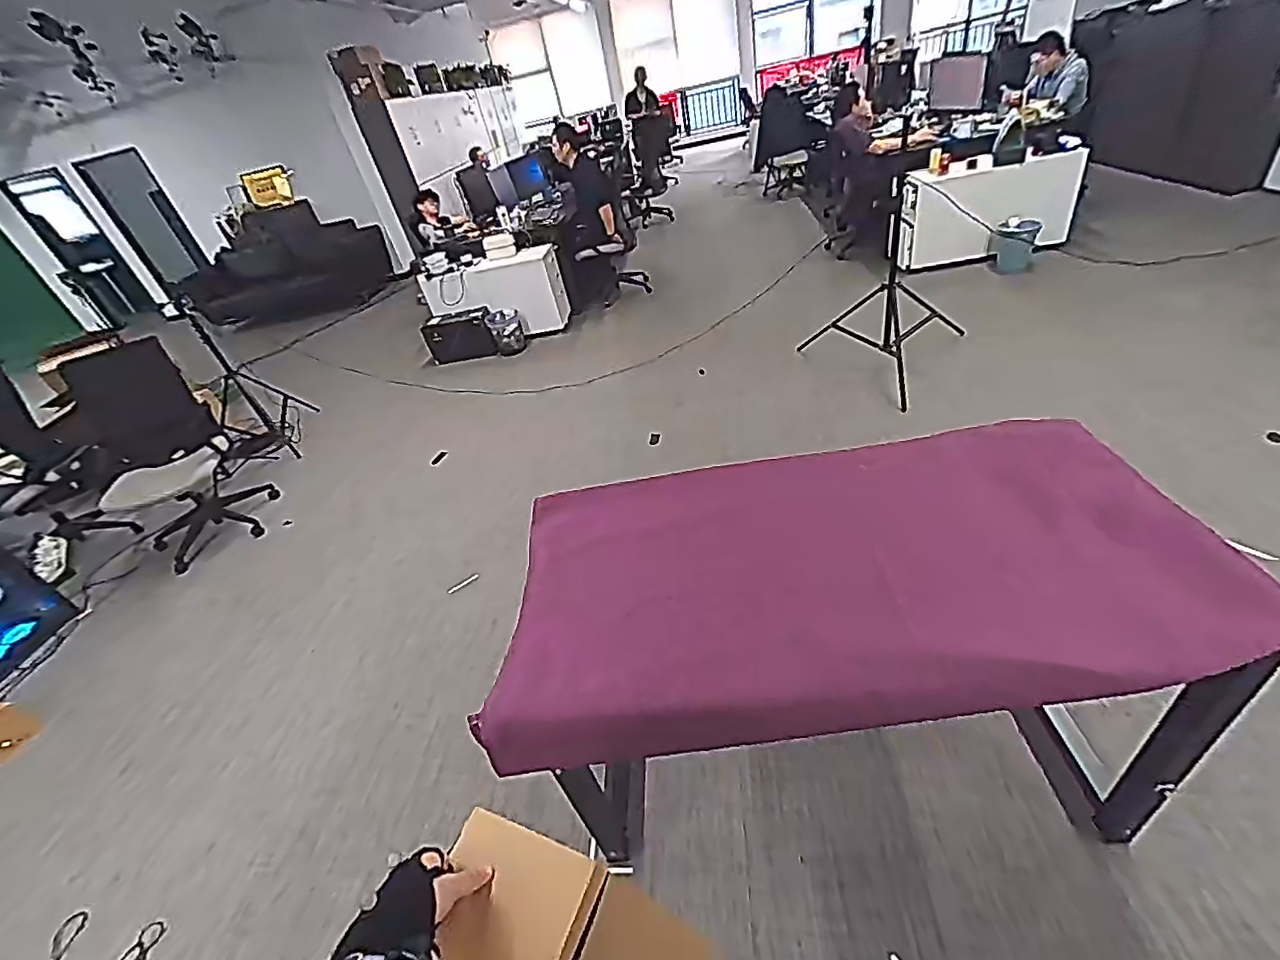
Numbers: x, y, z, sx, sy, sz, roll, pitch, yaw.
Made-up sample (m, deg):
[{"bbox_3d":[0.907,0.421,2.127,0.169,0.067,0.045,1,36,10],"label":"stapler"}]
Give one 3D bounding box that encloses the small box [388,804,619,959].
[{"bbox_3d":[-0.136,0.504,0.602,0.179,0.176,0.168,13,46,20],"label":"small box"}]
